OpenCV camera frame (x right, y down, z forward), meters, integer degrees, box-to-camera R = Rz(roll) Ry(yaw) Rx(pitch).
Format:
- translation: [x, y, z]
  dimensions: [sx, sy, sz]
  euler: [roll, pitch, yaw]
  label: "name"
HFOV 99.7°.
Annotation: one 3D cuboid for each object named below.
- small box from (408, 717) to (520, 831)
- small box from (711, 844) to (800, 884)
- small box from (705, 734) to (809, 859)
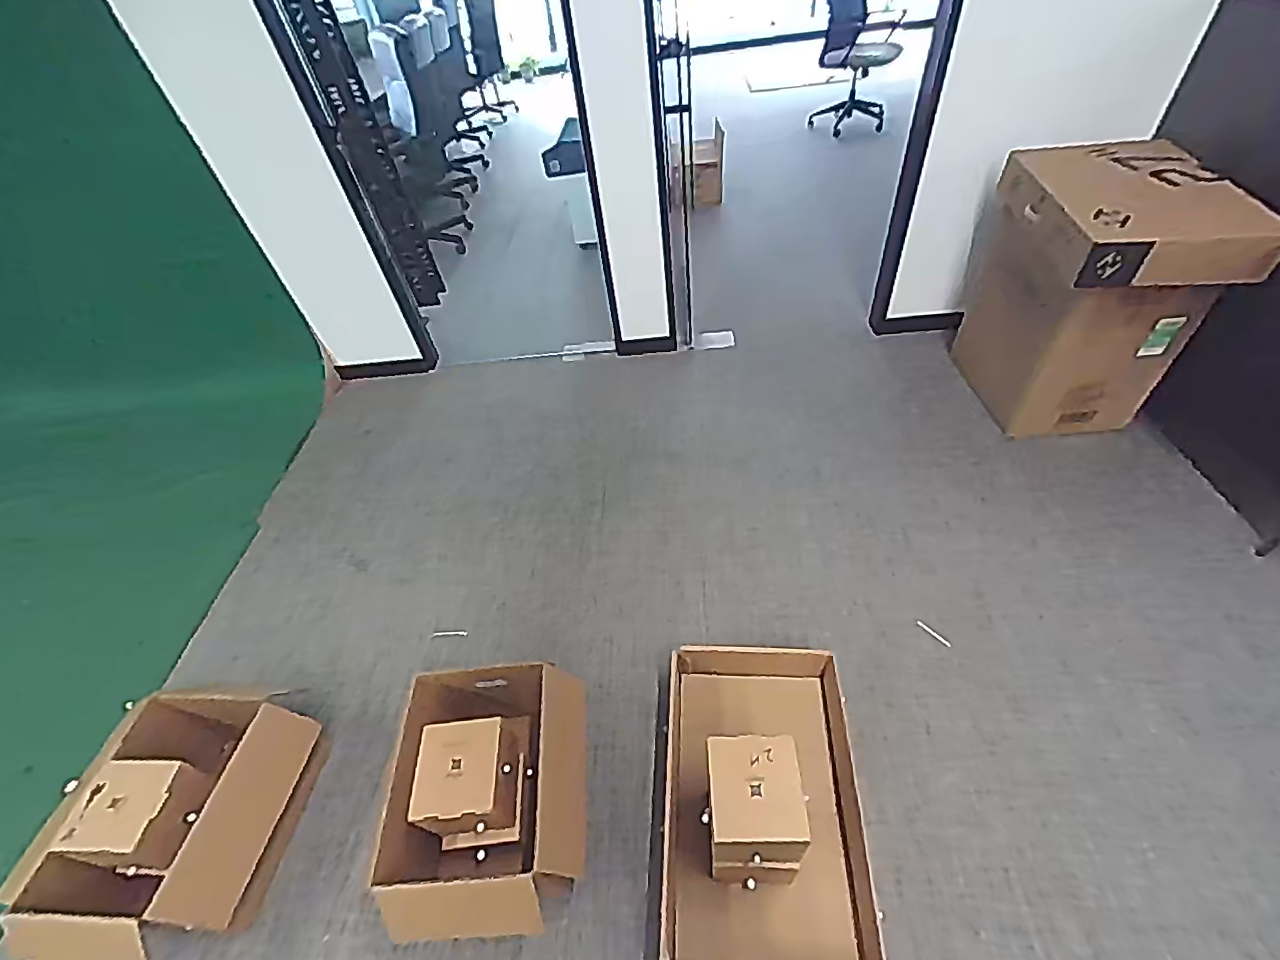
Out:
- translation: [-0.356, 0.619, 1.131]
  dimensions: [0.168, 0.176, 0.179]
  euler: [-7, 48, 1]
  label: "small box"
- translation: [0.232, 0.723, 1.136]
  dimensions: [0.168, 0.176, 0.179]
  euler: [-1, 46, 6]
  label: "small box"
- translation: [0.213, 0.602, 1.025]
  dimensions: [0.168, 0.176, 0.179]
  euler: [-3, 45, 4]
  label: "small box"
